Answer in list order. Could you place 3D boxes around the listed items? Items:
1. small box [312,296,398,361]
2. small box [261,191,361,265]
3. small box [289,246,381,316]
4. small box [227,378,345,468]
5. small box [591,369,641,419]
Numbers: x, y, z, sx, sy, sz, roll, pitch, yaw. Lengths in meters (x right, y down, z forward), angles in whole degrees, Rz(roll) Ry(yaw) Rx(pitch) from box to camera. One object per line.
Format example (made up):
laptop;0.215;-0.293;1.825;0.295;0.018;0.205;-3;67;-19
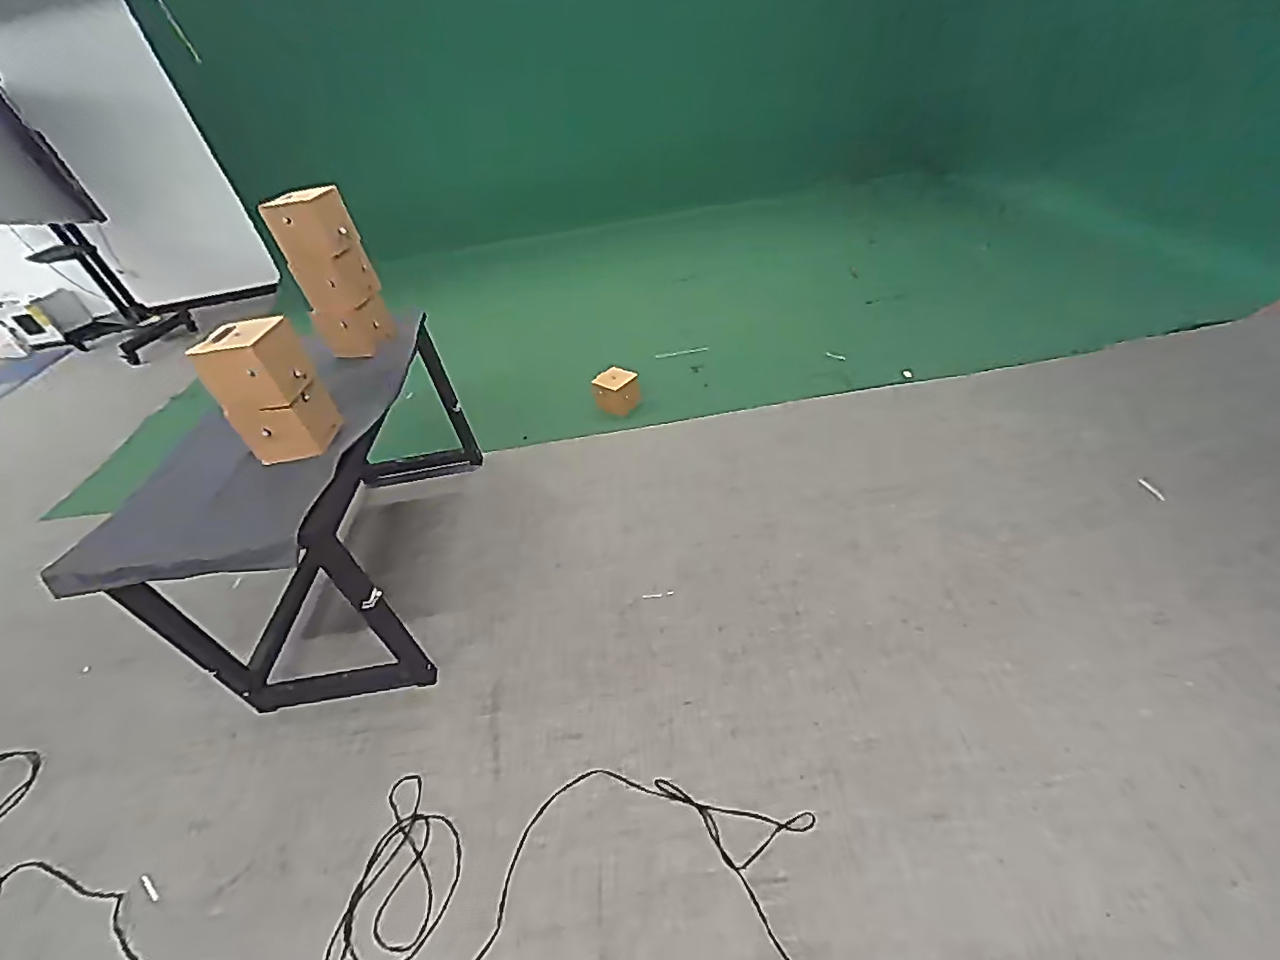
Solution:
small box;-0.997;-0.533;1.910;0.179;0.176;0.168;2;42;19
small box;-1.036;-0.795;1.717;0.179;0.176;0.168;-4;41;9
small box;-1.015;-0.668;1.818;0.179;0.176;0.168;-1;41;15
small box;-0.952;-0.152;1.471;0.179;0.176;0.168;-11;41;3
small box;-0.114;-0.430;2.718;0.179;0.176;0.168;25;52;35
